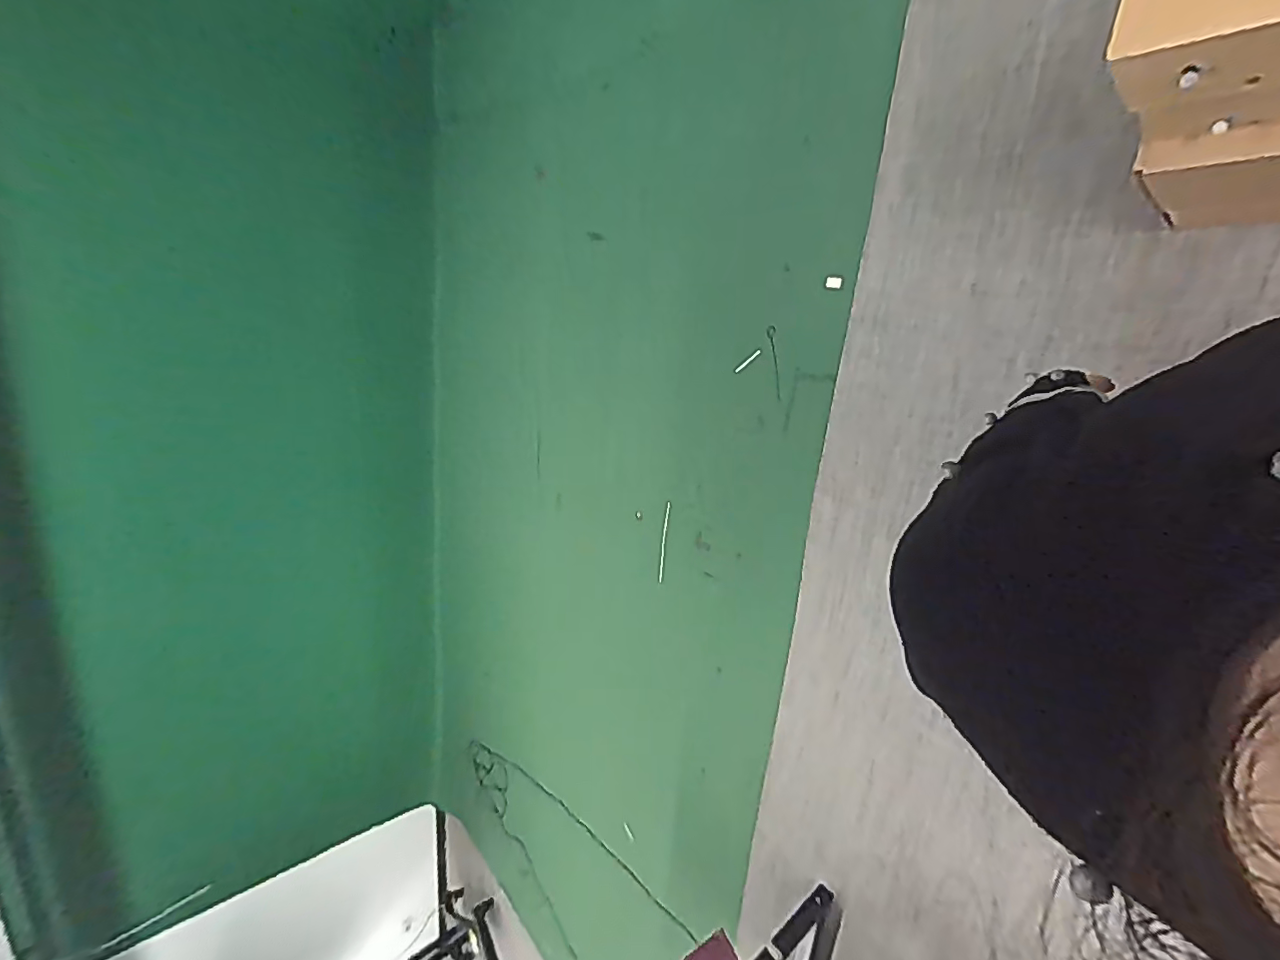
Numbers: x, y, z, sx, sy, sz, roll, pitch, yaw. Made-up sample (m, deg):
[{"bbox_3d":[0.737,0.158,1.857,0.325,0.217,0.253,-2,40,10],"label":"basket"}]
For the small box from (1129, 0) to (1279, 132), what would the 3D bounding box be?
[{"bbox_3d":[0.722,-0.545,0.640,0.168,0.176,0.179,21,115,44],"label":"small box"}]
